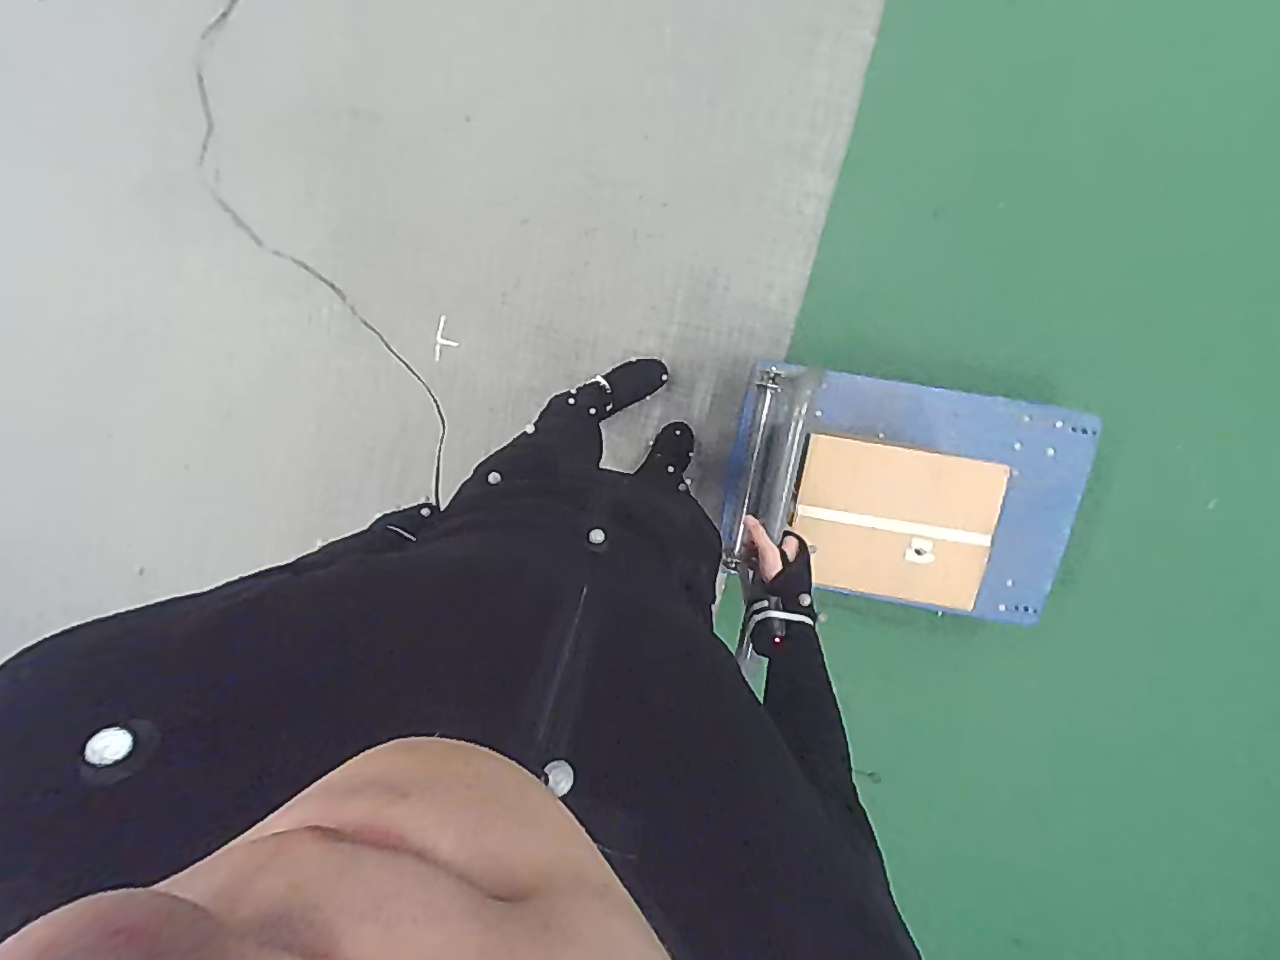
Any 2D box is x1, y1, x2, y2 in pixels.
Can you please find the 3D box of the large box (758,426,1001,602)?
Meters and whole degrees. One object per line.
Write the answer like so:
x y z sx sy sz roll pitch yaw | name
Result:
0.520 0.057 1.269 0.408 0.320 0.320 10 101 2 | large box
